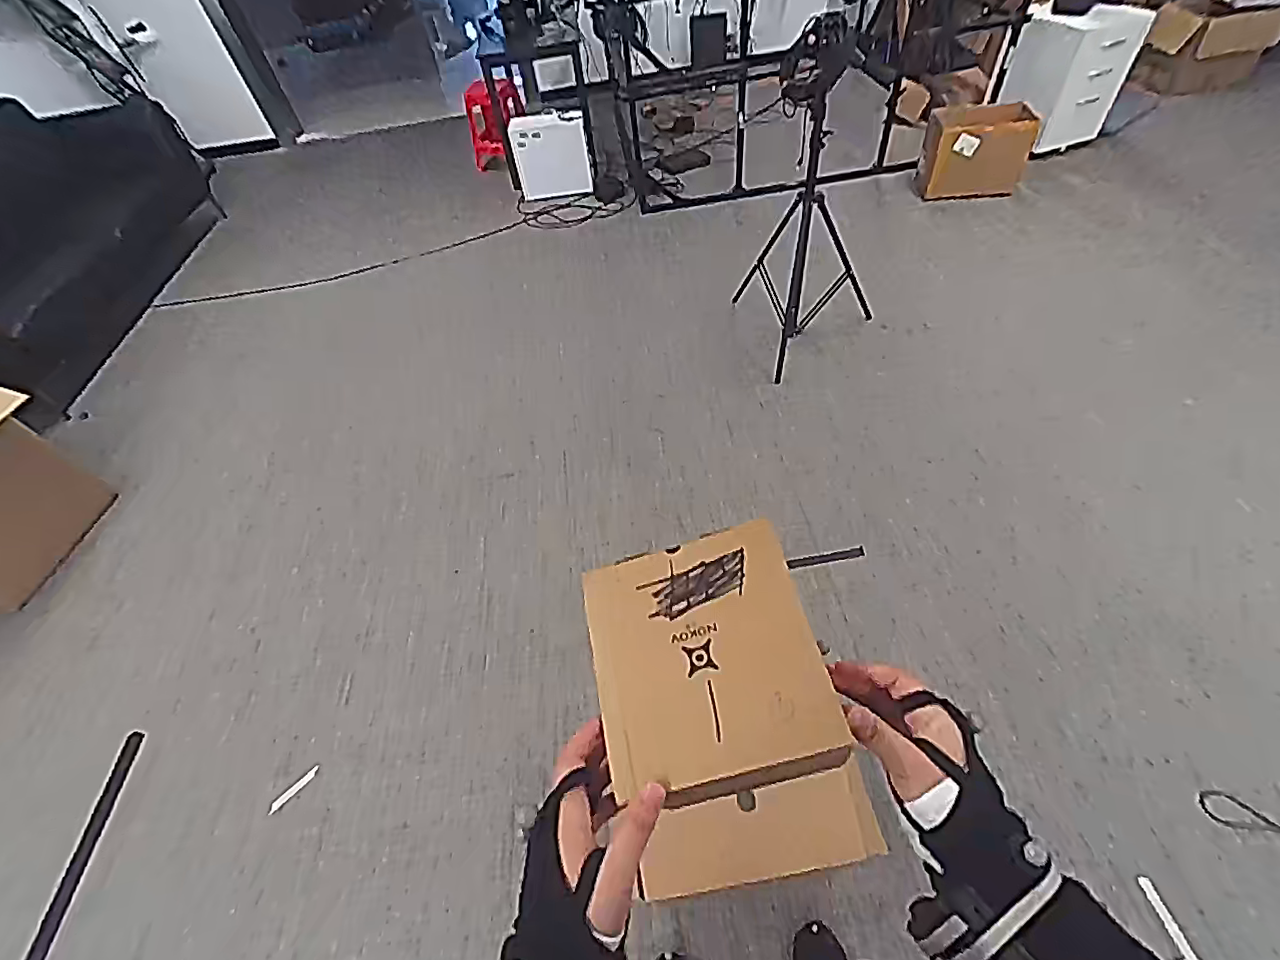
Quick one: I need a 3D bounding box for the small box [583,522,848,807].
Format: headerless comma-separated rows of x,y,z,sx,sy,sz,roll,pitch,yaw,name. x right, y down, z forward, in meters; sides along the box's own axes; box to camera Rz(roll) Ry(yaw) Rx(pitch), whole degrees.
0.062,0.167,0.470,0.168,0.176,0.179,-18,55,6,small box
